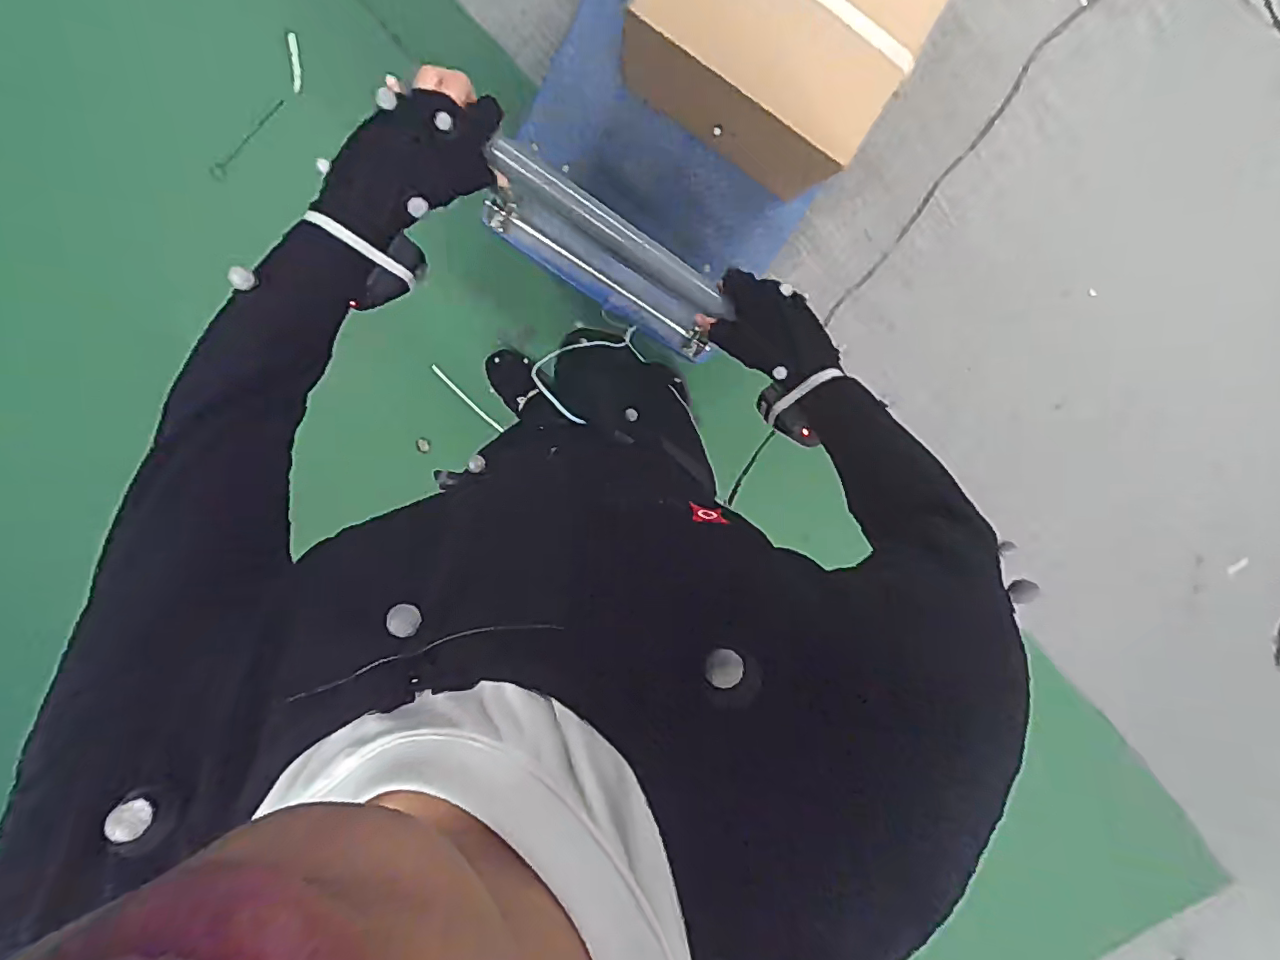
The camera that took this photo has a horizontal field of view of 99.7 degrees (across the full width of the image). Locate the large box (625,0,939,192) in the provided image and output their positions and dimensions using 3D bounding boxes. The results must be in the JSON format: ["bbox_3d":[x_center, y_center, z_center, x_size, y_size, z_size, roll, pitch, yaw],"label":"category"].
[{"bbox_3d":[0.221,-0.765,0.922,0.408,0.320,0.320,28,104,-11],"label":"large box"}]
